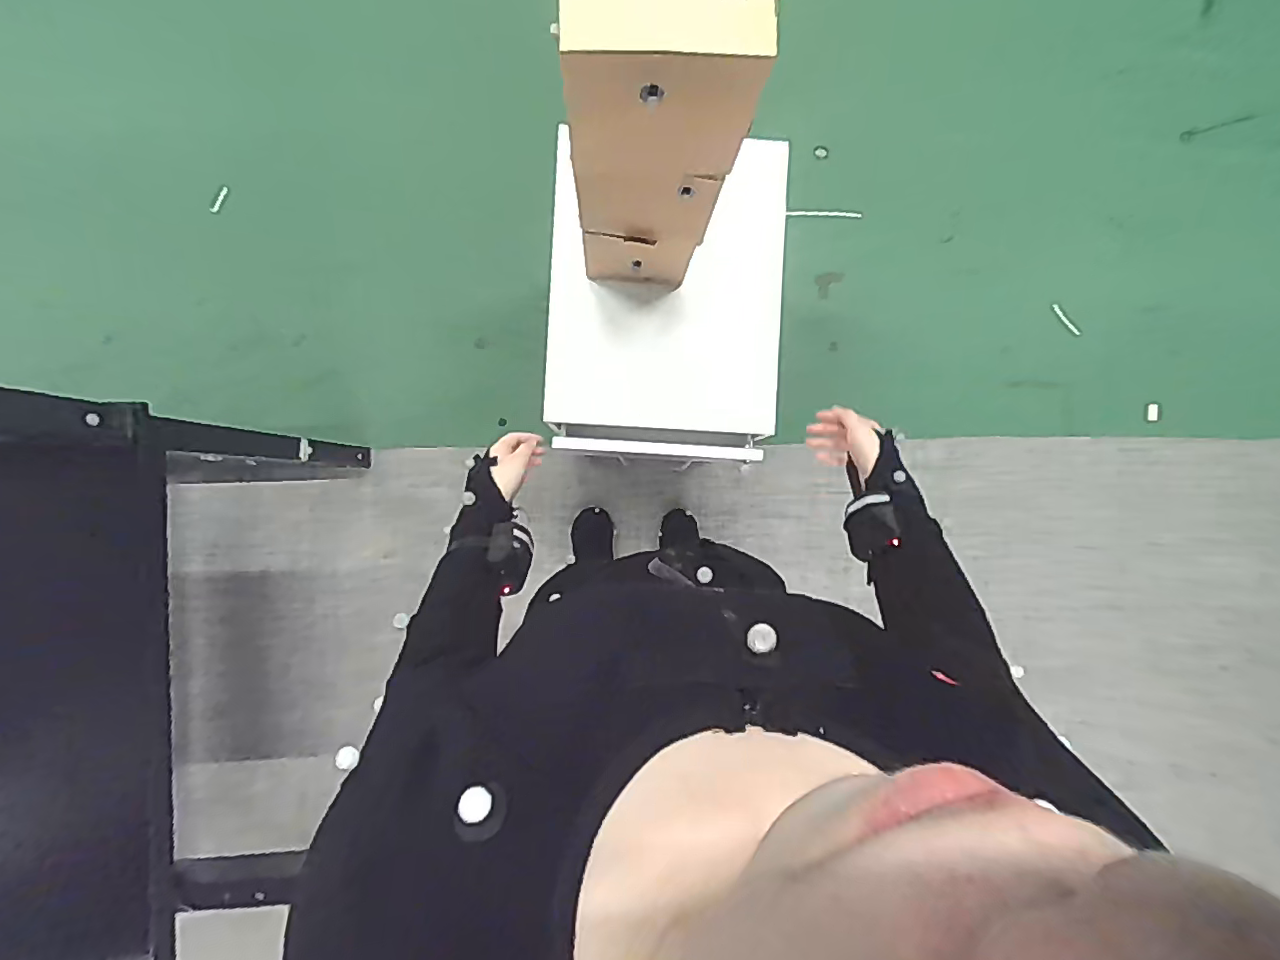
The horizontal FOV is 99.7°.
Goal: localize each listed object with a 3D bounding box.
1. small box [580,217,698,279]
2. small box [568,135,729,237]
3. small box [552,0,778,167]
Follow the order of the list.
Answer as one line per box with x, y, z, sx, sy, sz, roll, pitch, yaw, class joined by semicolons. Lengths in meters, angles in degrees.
0.003;-0.421;0.821;0.168;0.176;0.179;4;90;-3;small box
0.014;-0.418;0.658;0.179;0.176;0.168;6;89;-3;small box
0.016;-0.413;0.494;0.179;0.176;0.168;-1;91;-3;small box
